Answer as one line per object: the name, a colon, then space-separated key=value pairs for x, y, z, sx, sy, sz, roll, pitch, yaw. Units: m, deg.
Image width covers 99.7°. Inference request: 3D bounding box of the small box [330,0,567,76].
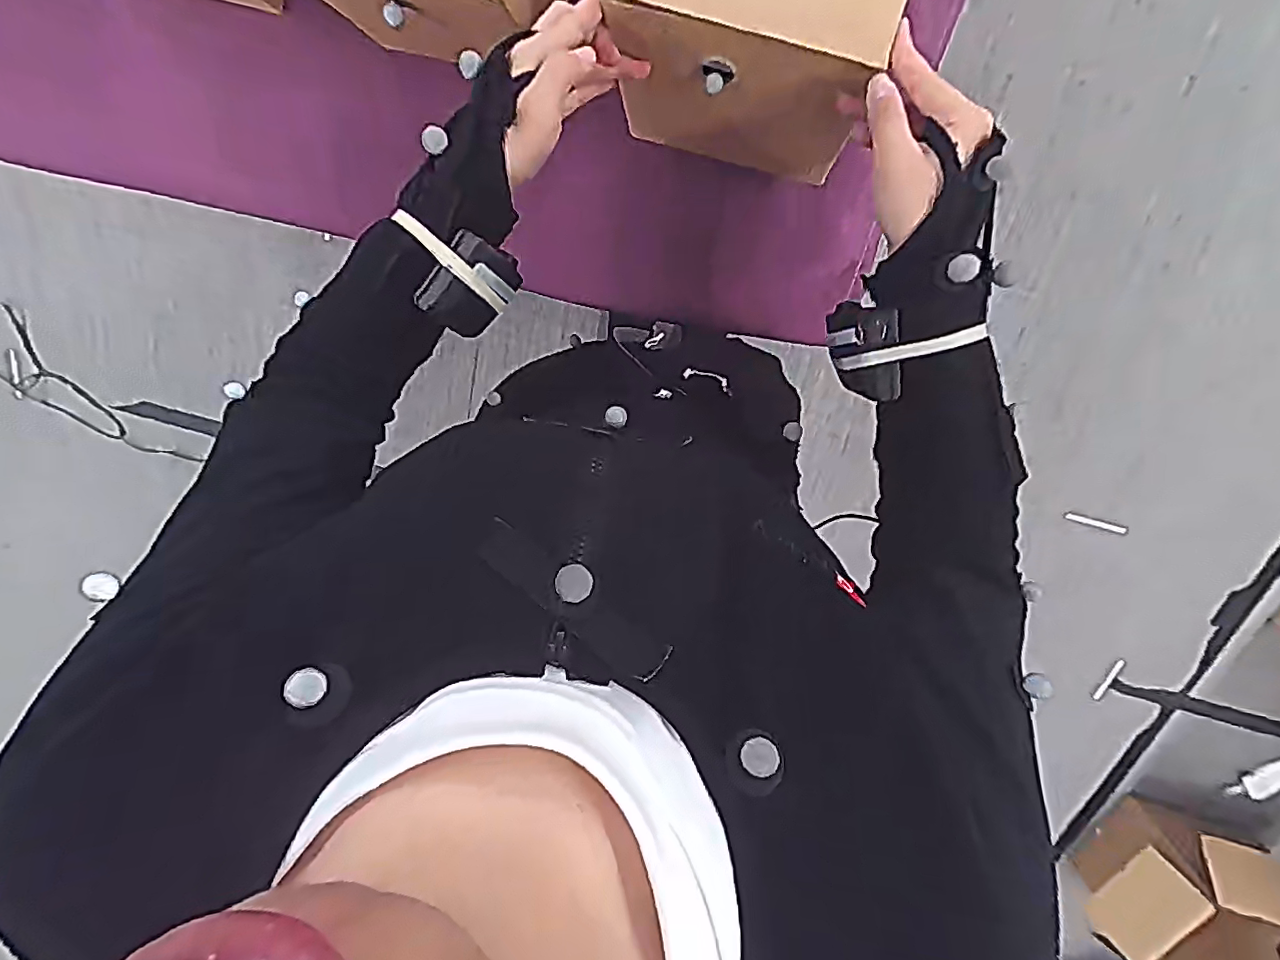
small box: x=-0.148 y=-0.438 z=0.407 sx=0.179 sy=0.176 sz=0.168 roll=13 pitch=111 yaw=1
